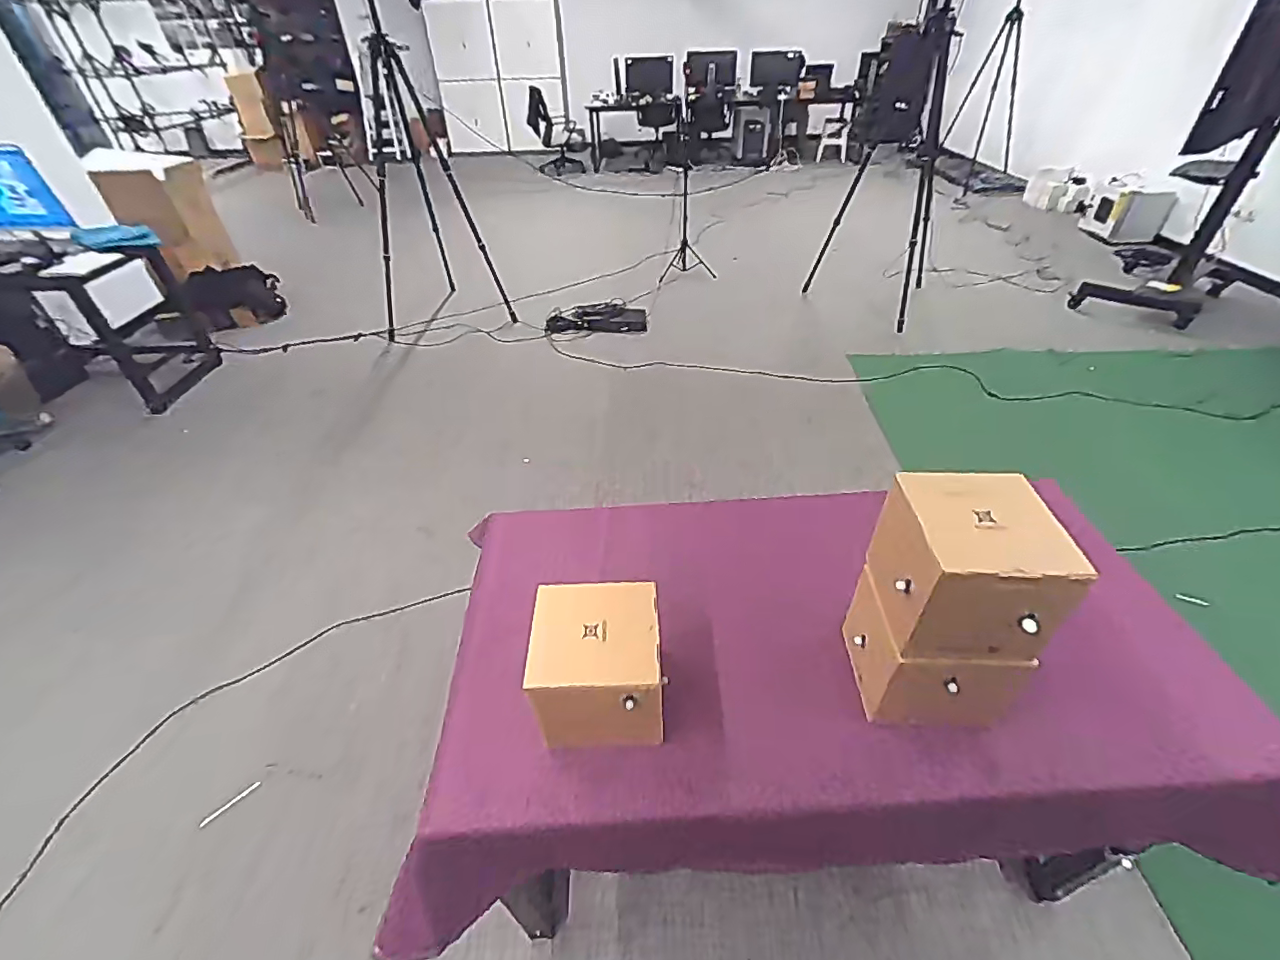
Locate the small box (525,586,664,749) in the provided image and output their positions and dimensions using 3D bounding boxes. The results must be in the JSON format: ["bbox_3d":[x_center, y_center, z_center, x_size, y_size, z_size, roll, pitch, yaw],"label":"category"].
[{"bbox_3d":[-0.056,0.275,0.790,0.179,0.176,0.168,-2,39,1],"label":"small box"}]

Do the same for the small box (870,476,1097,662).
[{"bbox_3d":[0.414,0.113,0.691,0.168,0.176,0.179,1,39,5],"label":"small box"}]

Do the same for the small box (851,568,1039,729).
[{"bbox_3d":[0.420,0.244,0.788,0.179,0.176,0.168,0,40,4],"label":"small box"}]
